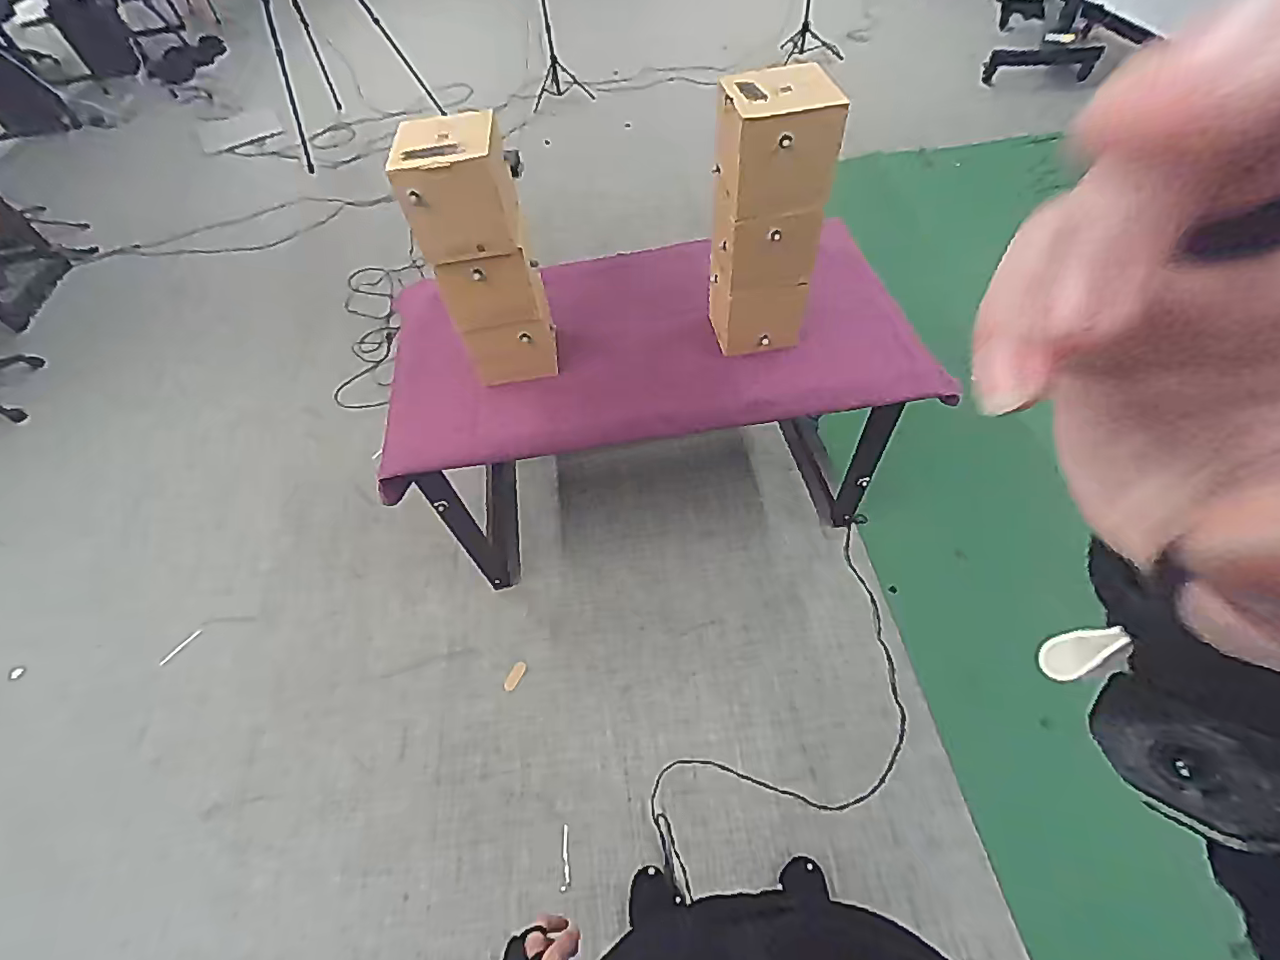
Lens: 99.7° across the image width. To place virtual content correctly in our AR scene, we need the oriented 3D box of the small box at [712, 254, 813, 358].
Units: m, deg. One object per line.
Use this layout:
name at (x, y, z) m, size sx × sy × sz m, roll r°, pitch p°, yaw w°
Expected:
small box at (0.266, -0.400, 1.219) m, size 0.179 × 0.176 × 0.168 m, roll -10°, pitch 55°, yaw -1°

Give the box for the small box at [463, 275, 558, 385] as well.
small box at (-0.285, -0.337, 1.229) m, size 0.179 × 0.176 × 0.168 m, roll -8°, pitch 55°, yaw -1°

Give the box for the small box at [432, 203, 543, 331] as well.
small box at (-0.297, -0.426, 1.094) m, size 0.179 × 0.176 × 0.168 m, roll -9°, pitch 56°, yaw 0°

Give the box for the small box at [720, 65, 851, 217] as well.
small box at (0.242, -0.588, 0.951) m, size 0.179 × 0.176 × 0.168 m, roll -10°, pitch 56°, yaw -1°

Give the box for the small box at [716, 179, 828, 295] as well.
small box at (0.253, -0.494, 1.085) m, size 0.179 × 0.176 × 0.168 m, roll -9°, pitch 56°, yaw 0°
